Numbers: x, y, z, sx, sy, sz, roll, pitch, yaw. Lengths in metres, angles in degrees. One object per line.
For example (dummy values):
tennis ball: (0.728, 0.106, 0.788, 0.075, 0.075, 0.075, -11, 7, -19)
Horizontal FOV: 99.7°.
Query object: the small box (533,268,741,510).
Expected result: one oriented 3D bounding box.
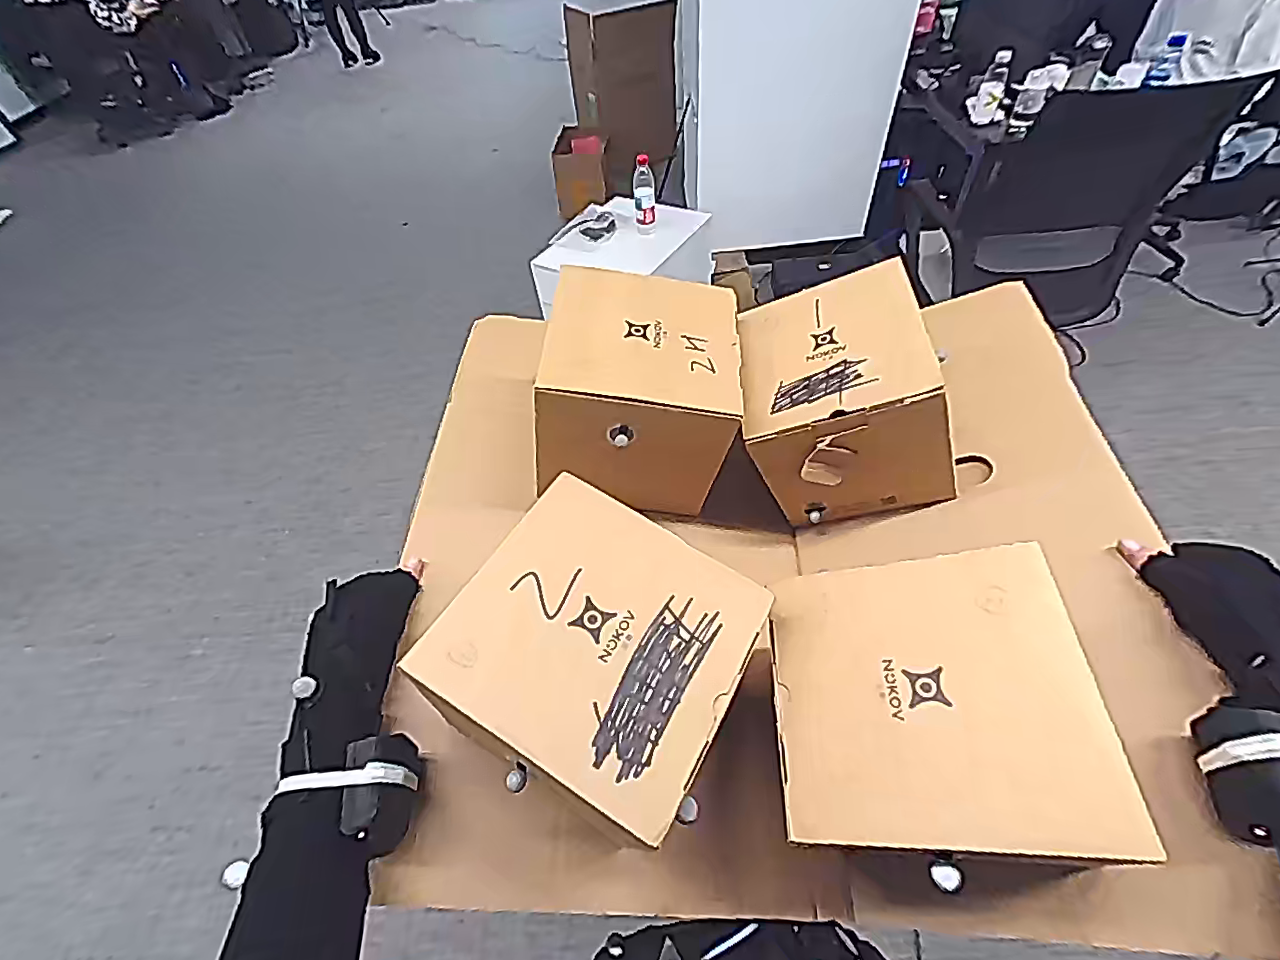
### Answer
small box: (-0.006, -0.084, 0.552, 0.179, 0.176, 0.168, 8, 57, -5)
